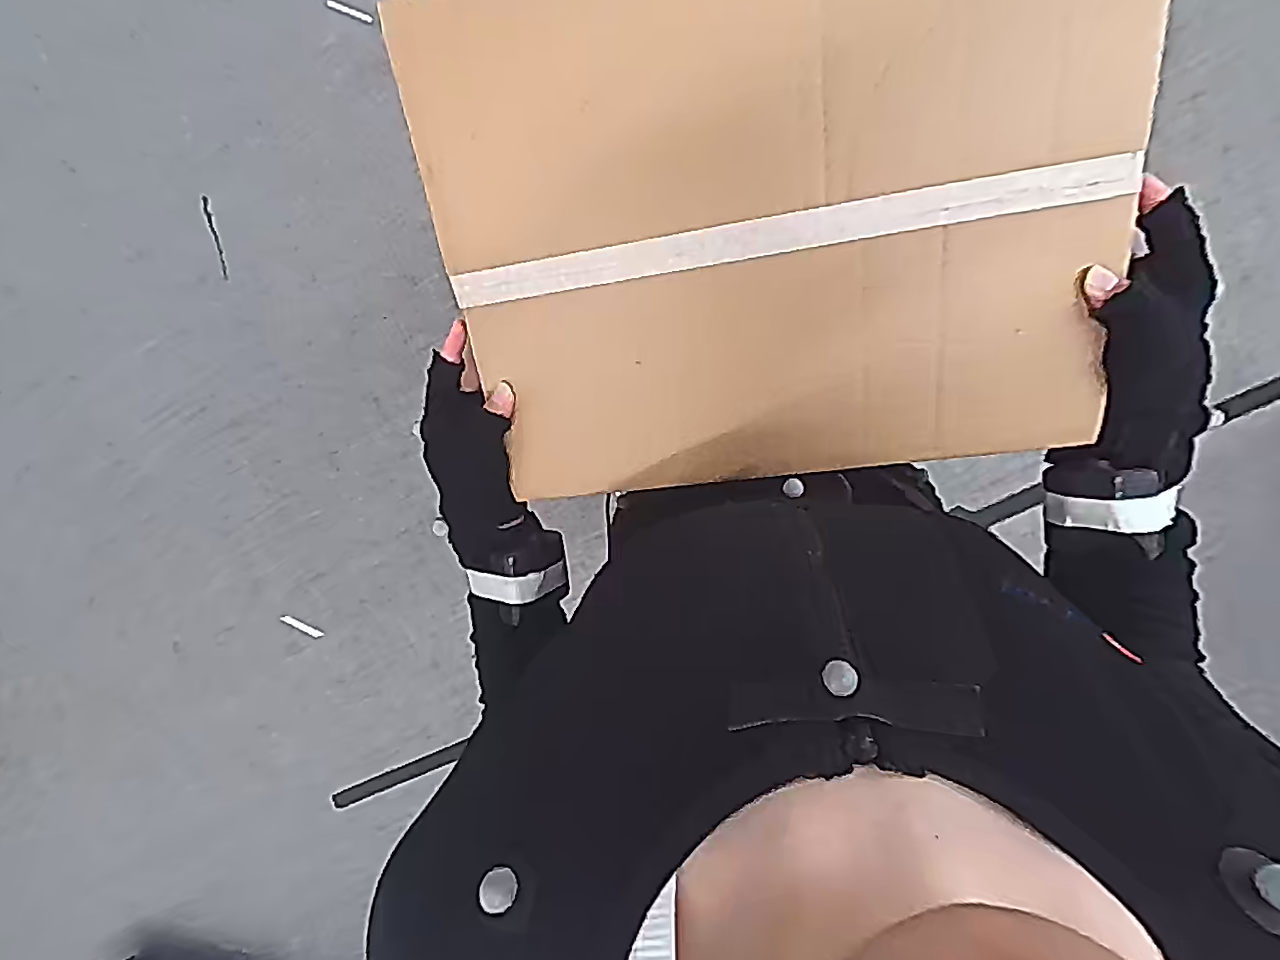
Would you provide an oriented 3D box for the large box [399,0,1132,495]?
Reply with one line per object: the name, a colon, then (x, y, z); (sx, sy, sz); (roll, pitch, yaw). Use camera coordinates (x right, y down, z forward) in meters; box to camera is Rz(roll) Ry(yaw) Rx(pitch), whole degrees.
large box: (0.088, -0.207, 0.478); (0.408, 0.320, 0.320); (-6, 113, 10)
